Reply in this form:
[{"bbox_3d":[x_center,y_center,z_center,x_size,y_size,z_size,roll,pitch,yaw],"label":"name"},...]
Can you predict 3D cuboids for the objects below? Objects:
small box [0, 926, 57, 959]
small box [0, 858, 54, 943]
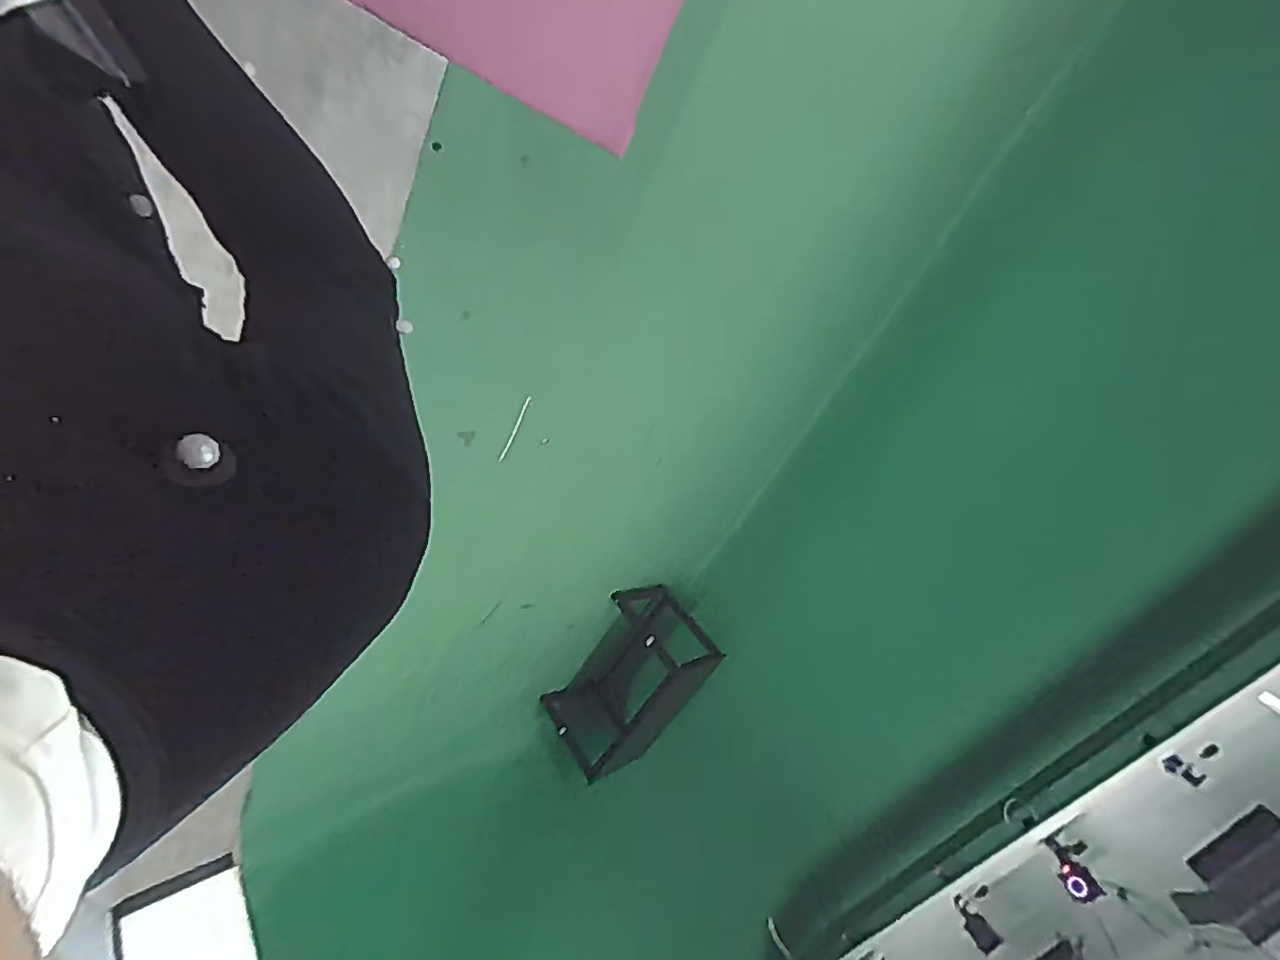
[{"bbox_3d":[-1.427,1.155,1.203,0.168,0.176,0.179,2,127,-51],"label":"small box"},{"bbox_3d":[-1.525,1.056,1.288,0.168,0.176,0.179,1,127,-51],"label":"small box"}]
